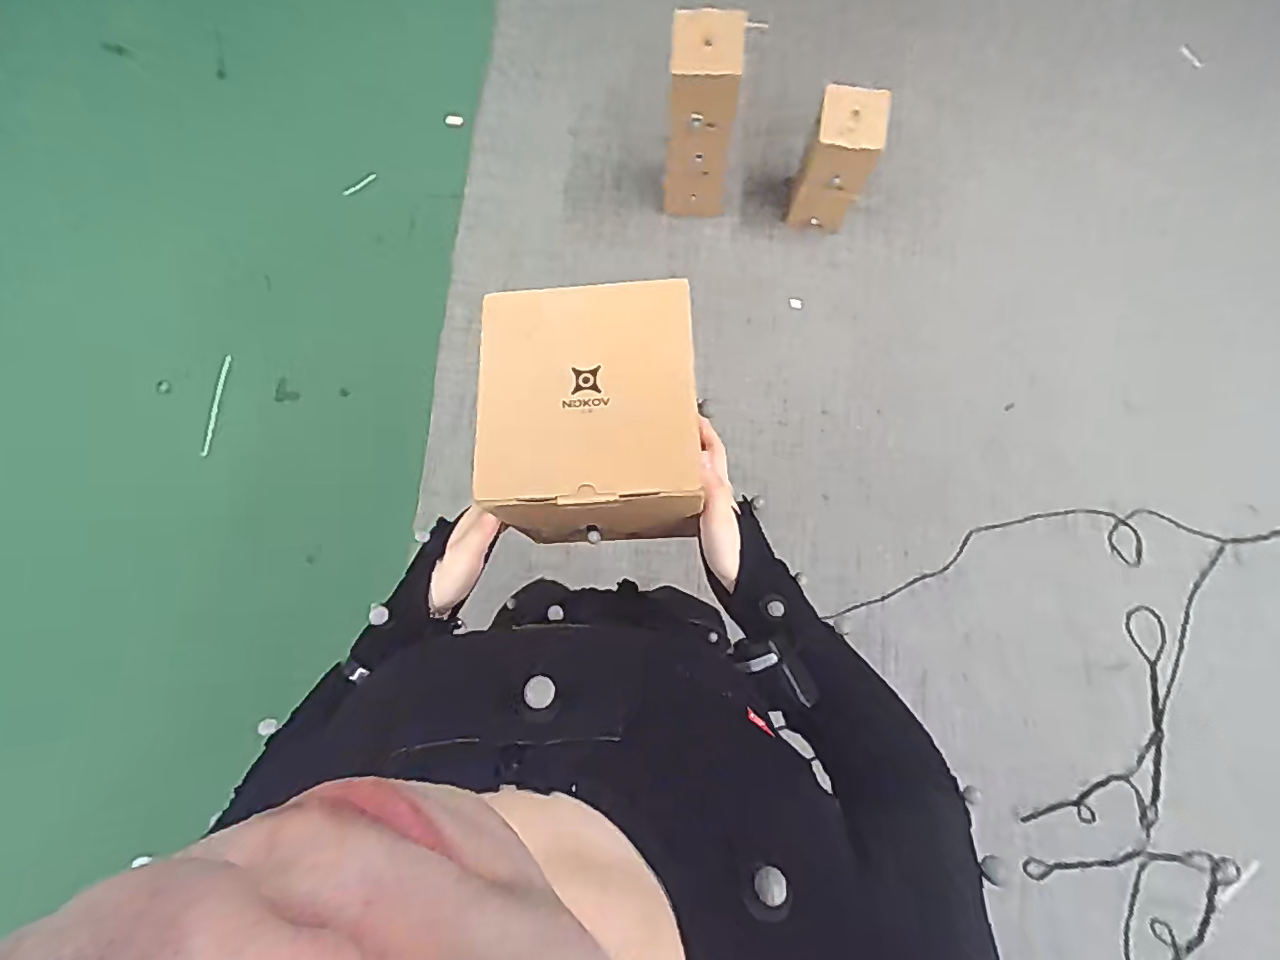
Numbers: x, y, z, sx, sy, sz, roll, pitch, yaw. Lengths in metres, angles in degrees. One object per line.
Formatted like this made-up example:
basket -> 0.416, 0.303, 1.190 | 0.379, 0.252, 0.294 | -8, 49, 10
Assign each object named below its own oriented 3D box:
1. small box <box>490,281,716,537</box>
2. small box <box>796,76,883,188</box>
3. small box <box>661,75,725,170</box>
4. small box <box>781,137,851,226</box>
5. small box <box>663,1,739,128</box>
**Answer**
small box -> -0.025, -0.051, 0.485 | 0.168, 0.176, 0.179 | -3, 75, 3
small box -> 0.525, -0.919, 1.438 | 0.168, 0.176, 0.179 | 9, 82, 3
small box -> 0.142, -0.965, 1.452 | 0.168, 0.176, 0.179 | 2, 82, 2
small box -> 0.525, -0.891, 1.601 | 0.168, 0.176, 0.179 | 11, 82, 3
small box -> 0.141, -0.985, 1.290 | 0.168, 0.176, 0.179 | 2, 82, 3
